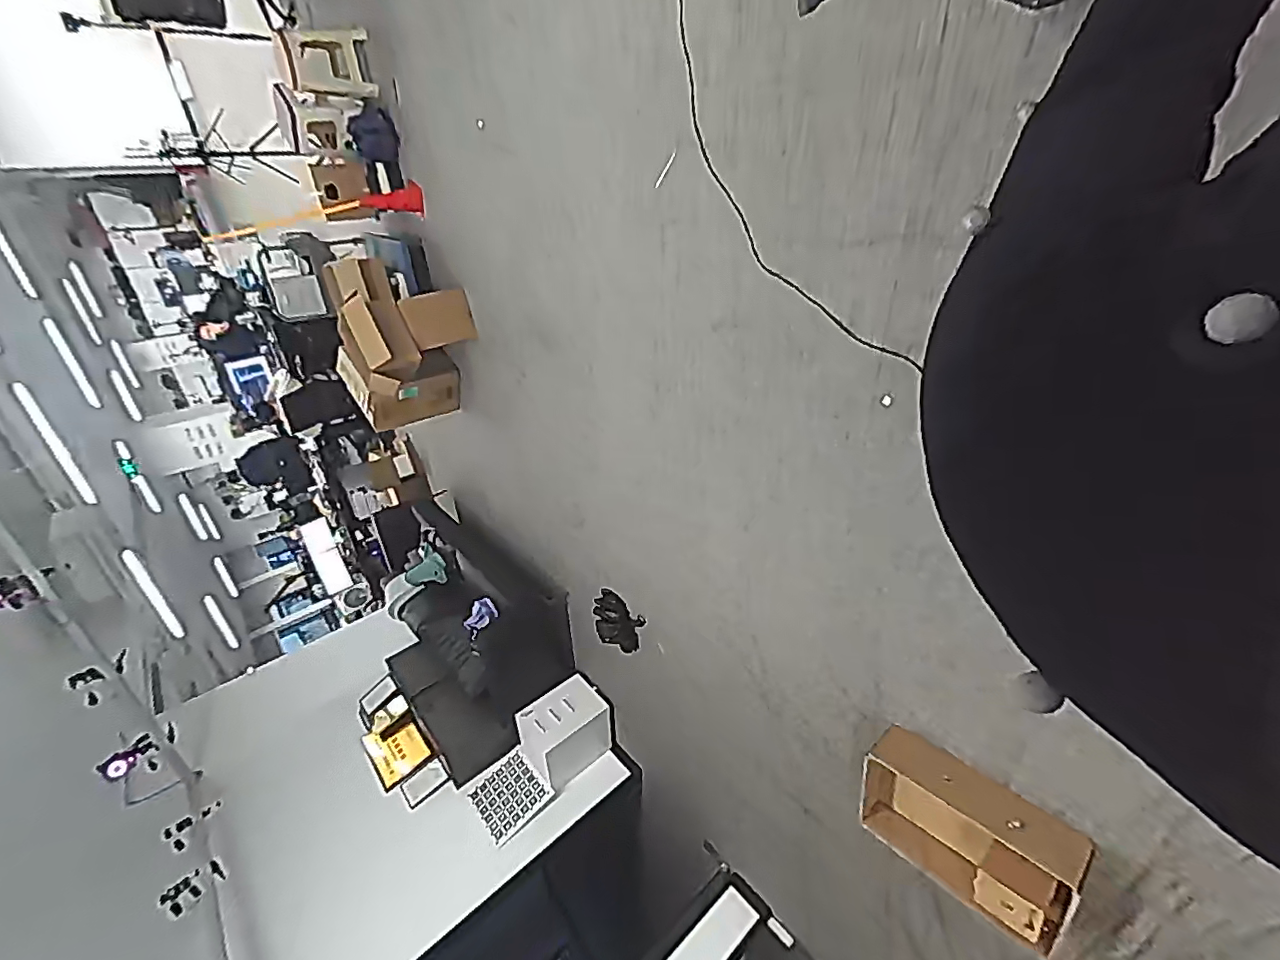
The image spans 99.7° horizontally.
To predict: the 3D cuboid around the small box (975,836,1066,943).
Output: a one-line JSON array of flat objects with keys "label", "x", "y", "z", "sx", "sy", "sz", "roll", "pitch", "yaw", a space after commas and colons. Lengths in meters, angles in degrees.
[{"label": "small box", "x": 1.168, "y": 1.243, "z": 1.663, "sx": 0.179, "sy": 0.176, "sz": 0.168, "roll": 20, "pitch": 127, "yaw": 48}]
